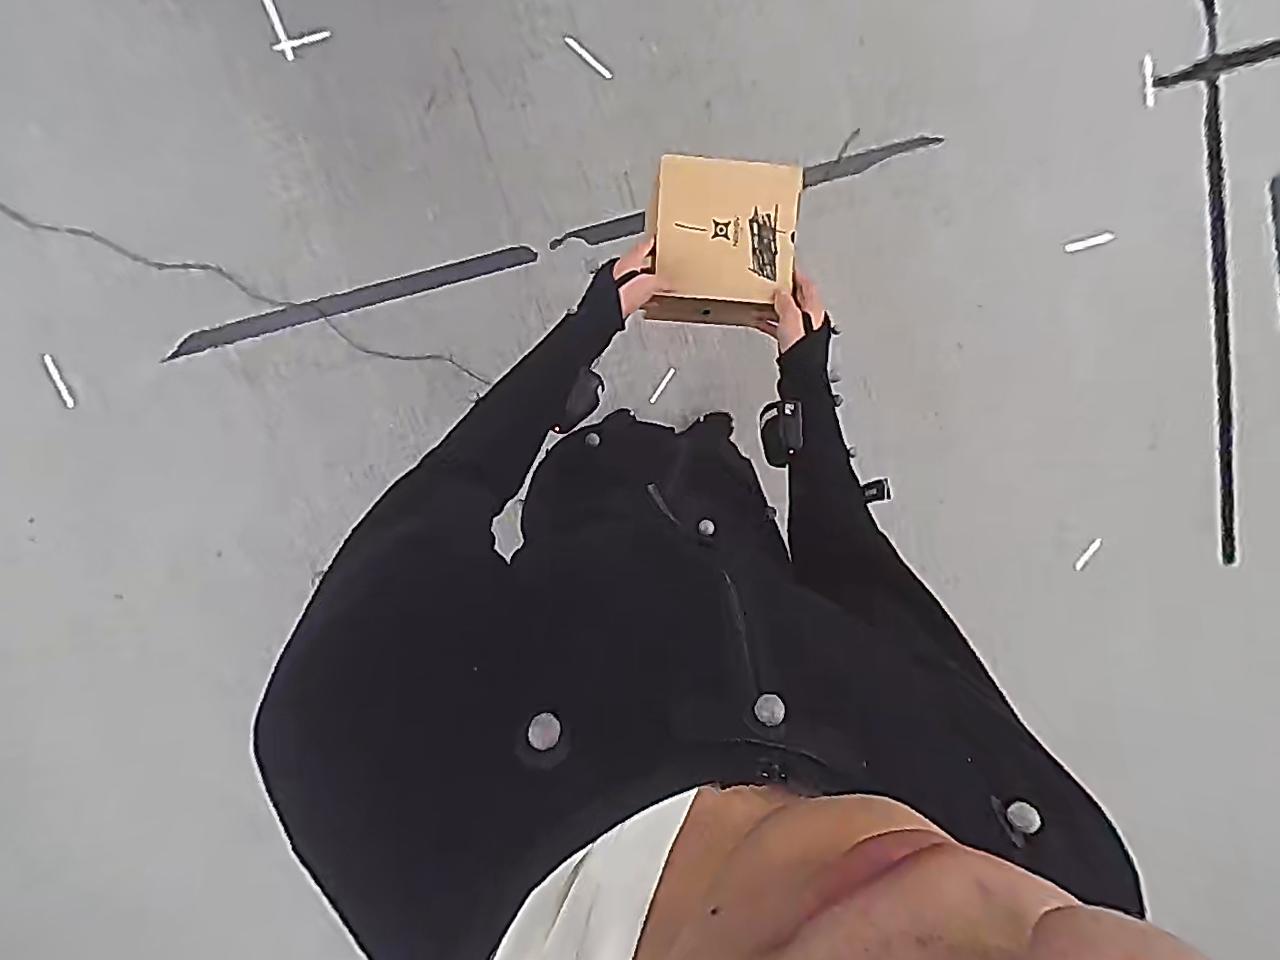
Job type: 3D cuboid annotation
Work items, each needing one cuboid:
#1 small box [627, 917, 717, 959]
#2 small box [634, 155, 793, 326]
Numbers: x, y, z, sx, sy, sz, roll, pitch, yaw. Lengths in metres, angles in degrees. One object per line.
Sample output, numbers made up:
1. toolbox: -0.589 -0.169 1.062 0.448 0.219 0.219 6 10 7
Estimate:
1. small box: 0.067 0.965 0.998 0.168 0.176 0.179 -6 104 -6
2. small box: 0.087 -0.305 0.725 0.179 0.176 0.168 1 96 -4
